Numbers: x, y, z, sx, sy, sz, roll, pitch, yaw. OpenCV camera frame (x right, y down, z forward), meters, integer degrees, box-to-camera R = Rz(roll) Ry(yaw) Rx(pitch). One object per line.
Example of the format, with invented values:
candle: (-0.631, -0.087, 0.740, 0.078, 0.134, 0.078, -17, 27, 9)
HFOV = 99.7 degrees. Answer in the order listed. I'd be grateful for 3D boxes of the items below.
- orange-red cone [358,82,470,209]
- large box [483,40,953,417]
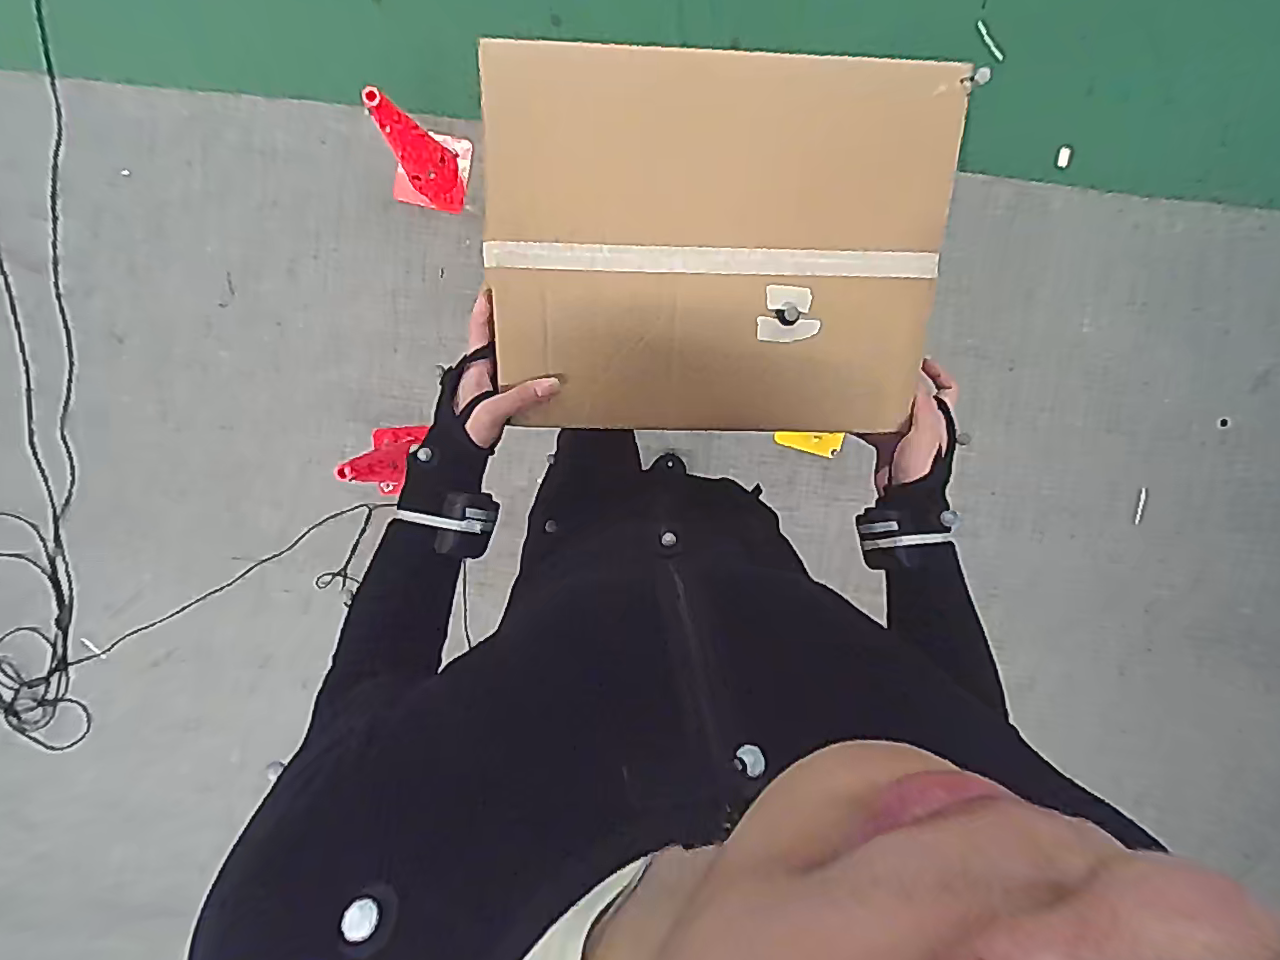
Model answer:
orange-red cone: (-0.591, -0.858, 1.343, 0.199, 0.360, 0.198, 14, 95, 0)
large box: (0.059, -0.256, 0.634, 0.408, 0.320, 0.320, 0, 109, -3)
